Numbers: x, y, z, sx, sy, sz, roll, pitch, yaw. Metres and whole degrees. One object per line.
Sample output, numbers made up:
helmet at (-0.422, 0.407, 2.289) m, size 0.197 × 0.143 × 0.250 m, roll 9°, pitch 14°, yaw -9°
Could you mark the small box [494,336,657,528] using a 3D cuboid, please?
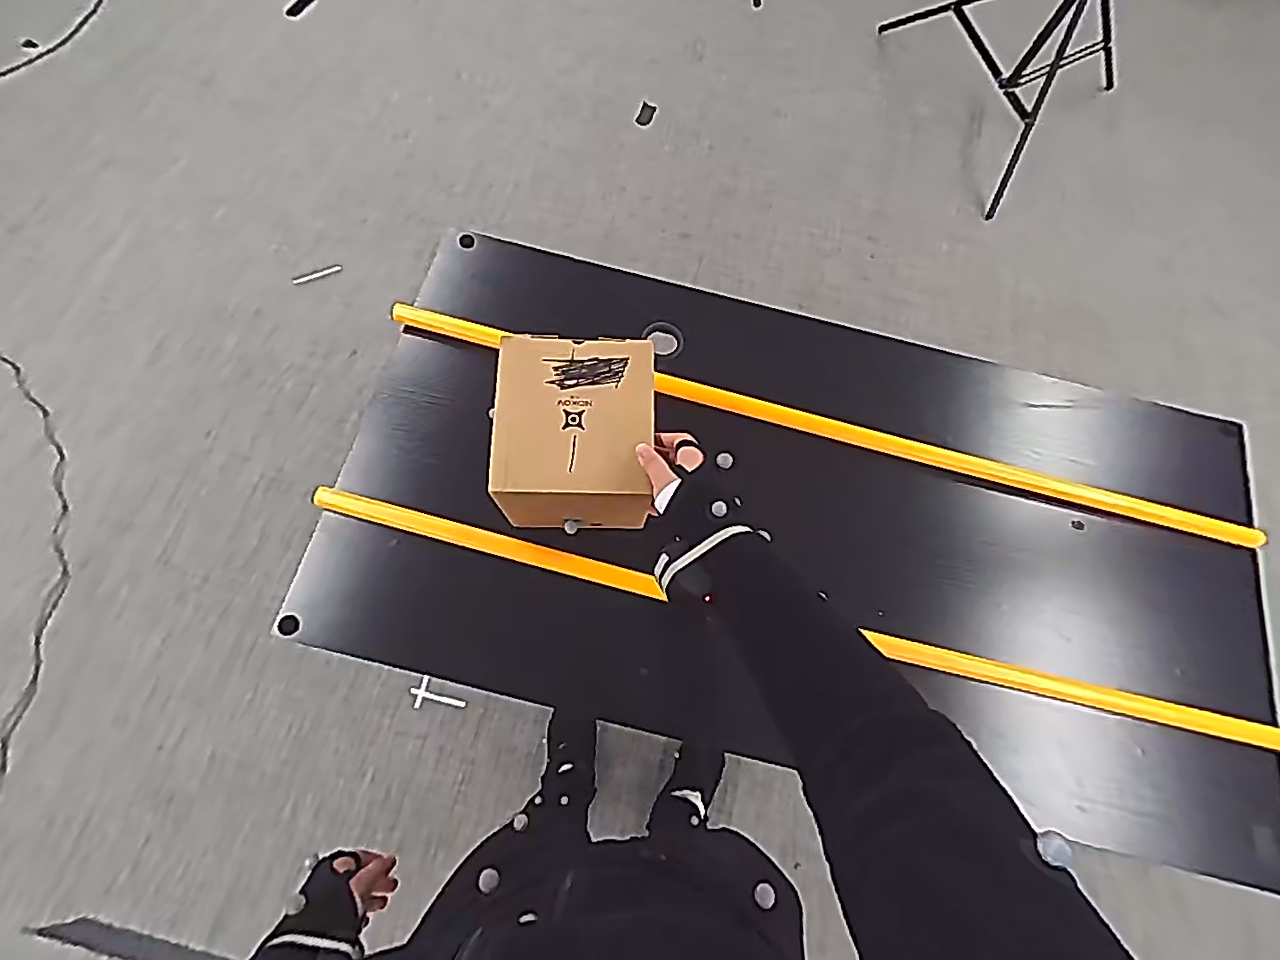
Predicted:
small box at (-0.070, -0.048, 0.641) m, size 0.168 × 0.176 × 0.179 m, roll 1°, pitch 73°, yaw -4°
